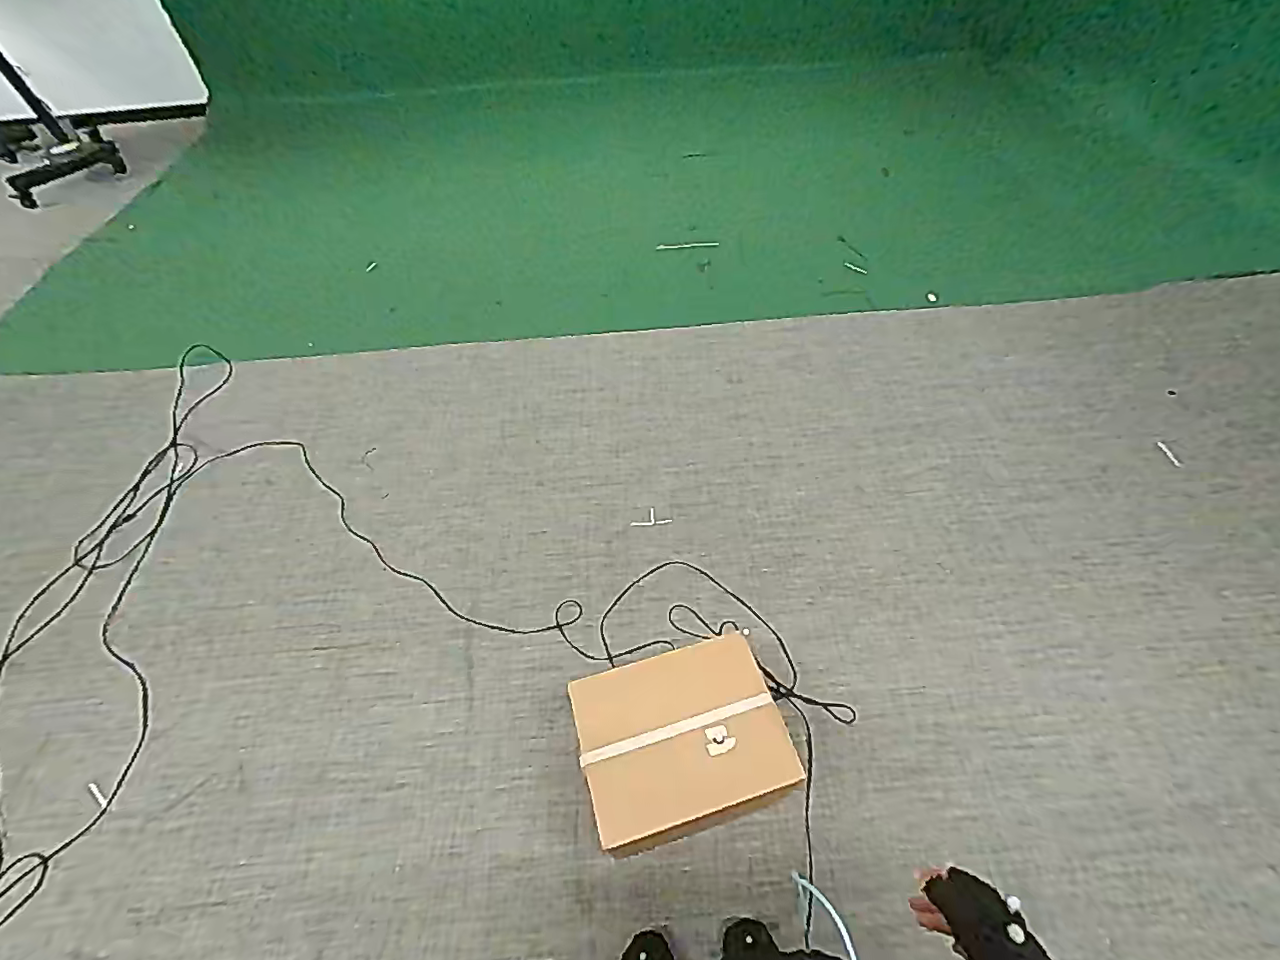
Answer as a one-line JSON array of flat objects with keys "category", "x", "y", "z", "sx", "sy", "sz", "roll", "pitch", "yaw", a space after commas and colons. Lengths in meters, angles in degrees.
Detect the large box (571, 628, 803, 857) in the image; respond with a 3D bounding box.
[{"category": "large box", "x": 0.088, "y": 0.589, "z": 1.214, "sx": 0.408, "sy": 0.320, "sz": 0.320, "roll": -14, "pitch": 53, "yaw": -9}]
